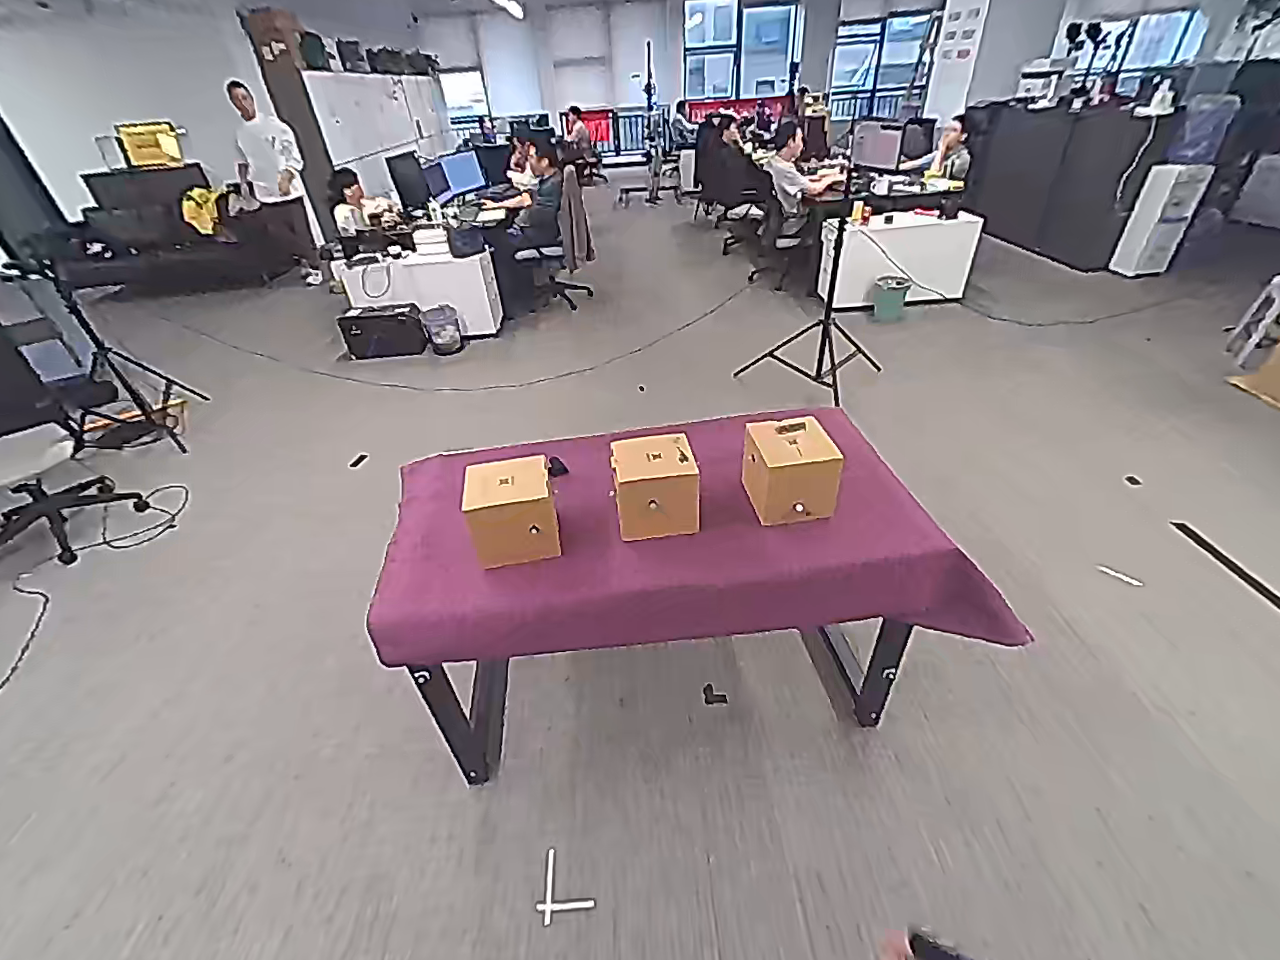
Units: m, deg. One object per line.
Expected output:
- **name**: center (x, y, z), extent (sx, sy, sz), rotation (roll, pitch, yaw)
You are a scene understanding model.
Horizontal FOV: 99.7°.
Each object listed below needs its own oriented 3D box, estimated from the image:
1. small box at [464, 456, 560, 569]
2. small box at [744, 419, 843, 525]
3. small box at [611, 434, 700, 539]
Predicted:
- **small box**: center (-0.274, 0.072, 1.191), extent (0.179, 0.176, 0.168), rotation (-11, 35, -7)
- **small box**: center (0.343, -0.020, 1.247), extent (0.168, 0.176, 0.179), rotation (-8, 37, -3)
- **small box**: center (0.035, 0.017, 1.231), extent (0.179, 0.176, 0.168), rotation (-8, 36, -3)
